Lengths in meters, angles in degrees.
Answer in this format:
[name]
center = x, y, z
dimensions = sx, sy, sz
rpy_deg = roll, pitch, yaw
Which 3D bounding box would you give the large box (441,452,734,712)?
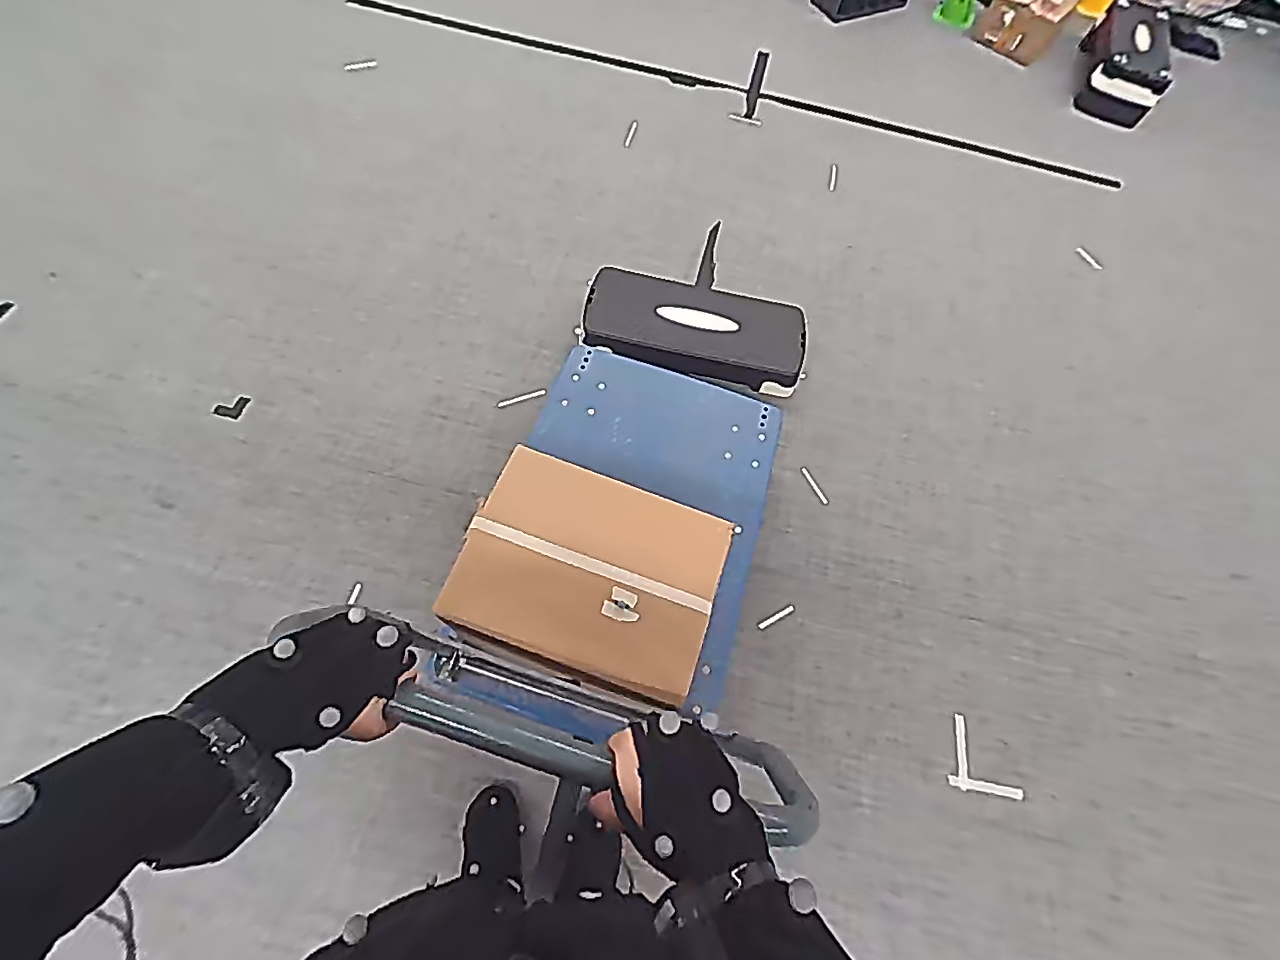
[large box]
center = -0.089, 0.204, 1.004
dimensions = 0.408, 0.320, 0.320
rpy_deg = 20, 65, 2
